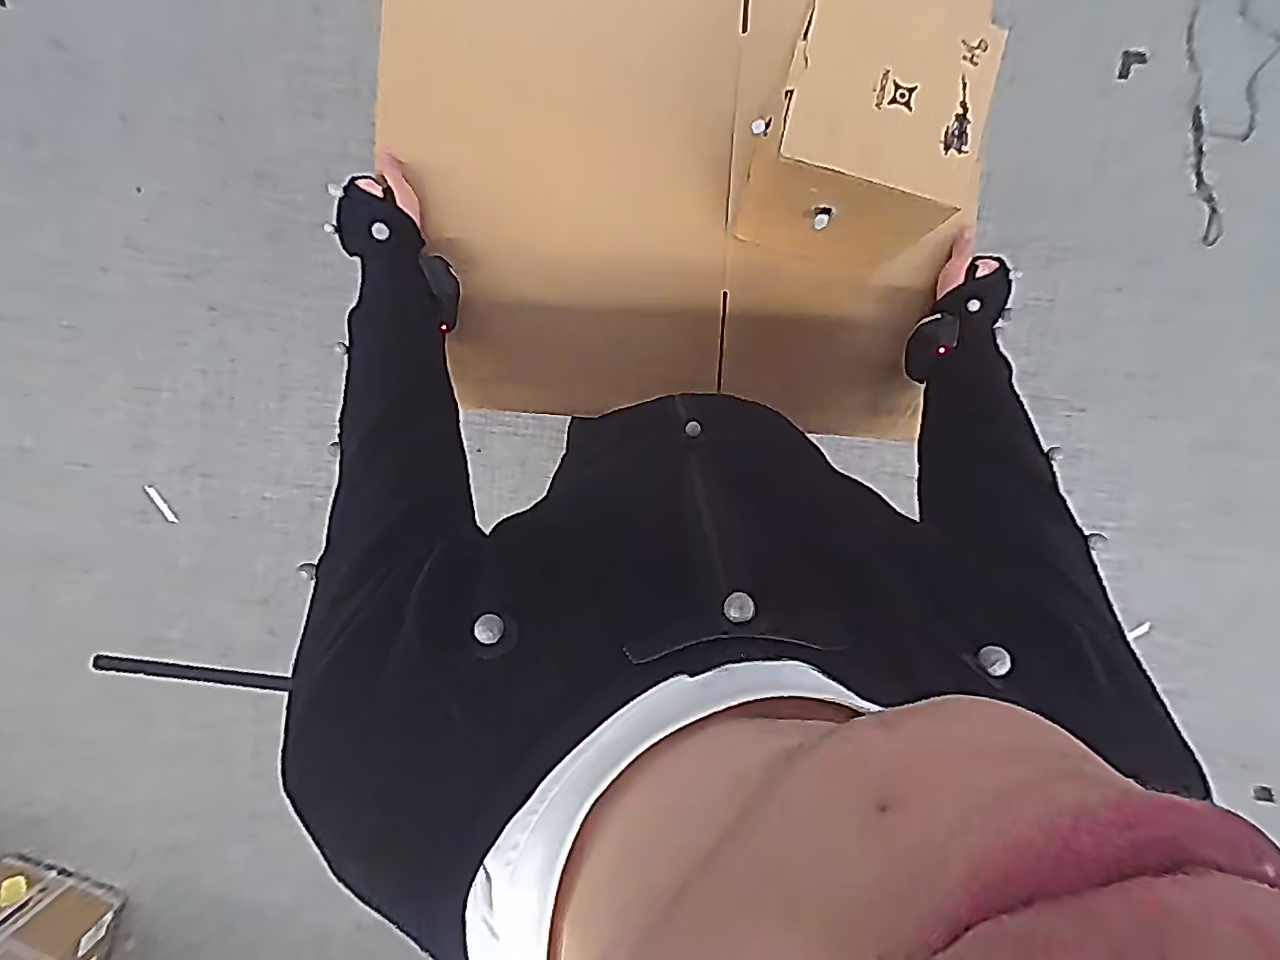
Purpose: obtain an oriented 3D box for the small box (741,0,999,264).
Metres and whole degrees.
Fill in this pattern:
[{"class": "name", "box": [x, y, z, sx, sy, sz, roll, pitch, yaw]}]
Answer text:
[{"class": "small box", "box": [0.218, -0.348, 0.562, 0.179, 0.176, 0.168, 14, 91, -3]}]
